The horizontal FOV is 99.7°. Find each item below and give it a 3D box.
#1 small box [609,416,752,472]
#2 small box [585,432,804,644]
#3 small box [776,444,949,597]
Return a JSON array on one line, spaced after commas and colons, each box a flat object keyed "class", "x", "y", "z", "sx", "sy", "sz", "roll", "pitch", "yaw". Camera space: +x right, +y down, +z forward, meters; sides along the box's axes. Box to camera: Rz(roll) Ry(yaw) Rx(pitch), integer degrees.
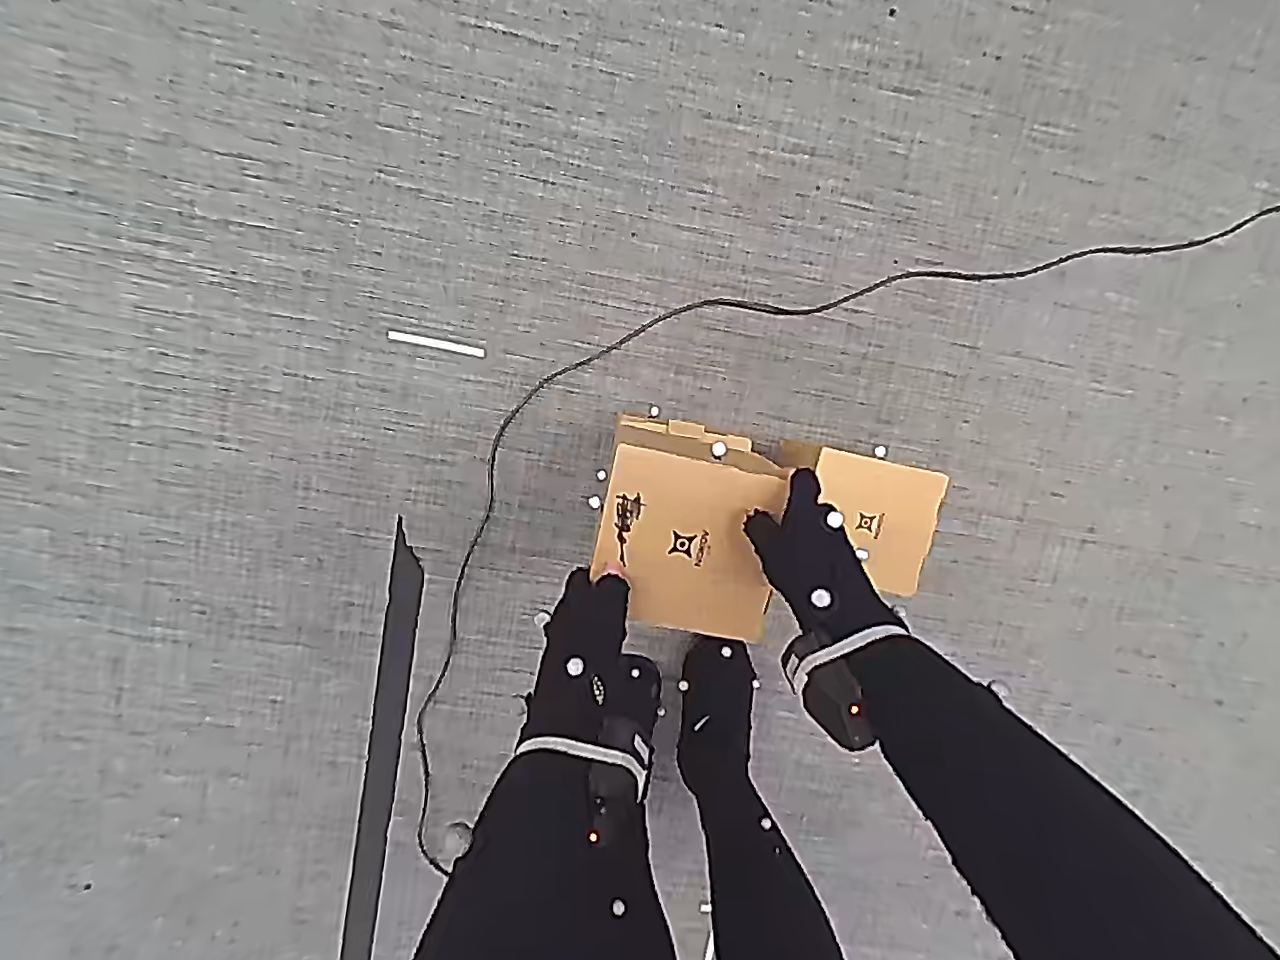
[{"class": "small box", "x": 0.039, "y": 0.011, "z": 0.745, "sx": 0.168, "sy": 0.176, "sz": 0.179, "roll": 10, "pitch": 98, "yaw": -4}, {"class": "small box", "x": 0.047, "y": 0.049, "z": 0.581, "sx": 0.179, "sy": 0.176, "sz": 0.168, "roll": 12, "pitch": 100, "yaw": -4}, {"class": "small box", "x": 0.286, "y": 0.047, "z": 0.766, "sx": 0.179, "sy": 0.176, "sz": 0.168, "roll": 12, "pitch": 97, "yaw": -6}]
